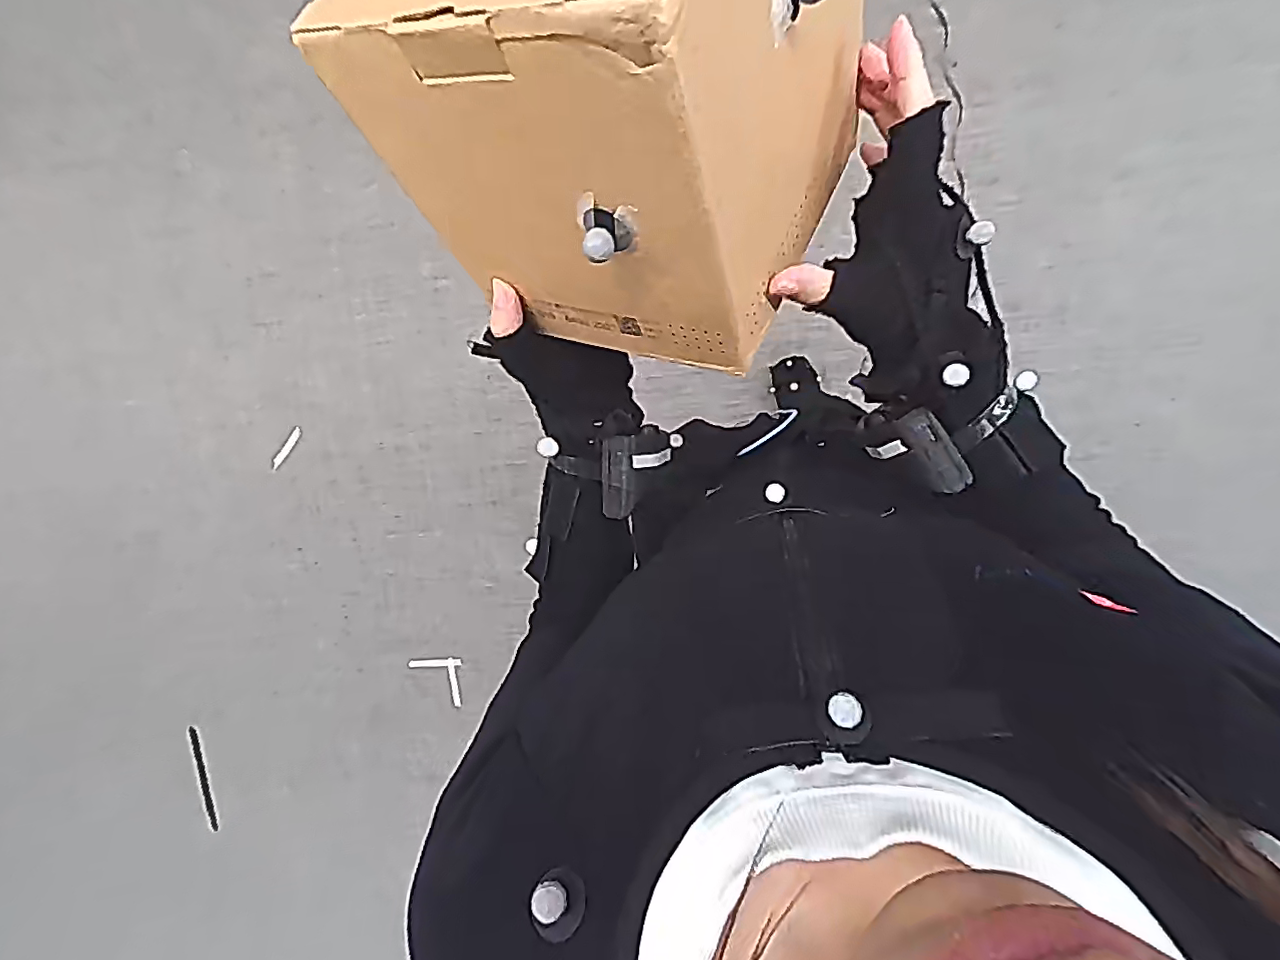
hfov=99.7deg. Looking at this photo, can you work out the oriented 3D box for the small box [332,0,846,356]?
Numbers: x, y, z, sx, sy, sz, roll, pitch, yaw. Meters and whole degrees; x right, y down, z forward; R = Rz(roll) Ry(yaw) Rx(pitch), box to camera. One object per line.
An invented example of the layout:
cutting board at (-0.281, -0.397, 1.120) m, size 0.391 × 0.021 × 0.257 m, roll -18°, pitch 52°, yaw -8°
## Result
small box at (0.000, -0.190, 0.279) m, size 0.168 × 0.176 × 0.179 m, roll 20°, pitch 72°, yaw 27°
